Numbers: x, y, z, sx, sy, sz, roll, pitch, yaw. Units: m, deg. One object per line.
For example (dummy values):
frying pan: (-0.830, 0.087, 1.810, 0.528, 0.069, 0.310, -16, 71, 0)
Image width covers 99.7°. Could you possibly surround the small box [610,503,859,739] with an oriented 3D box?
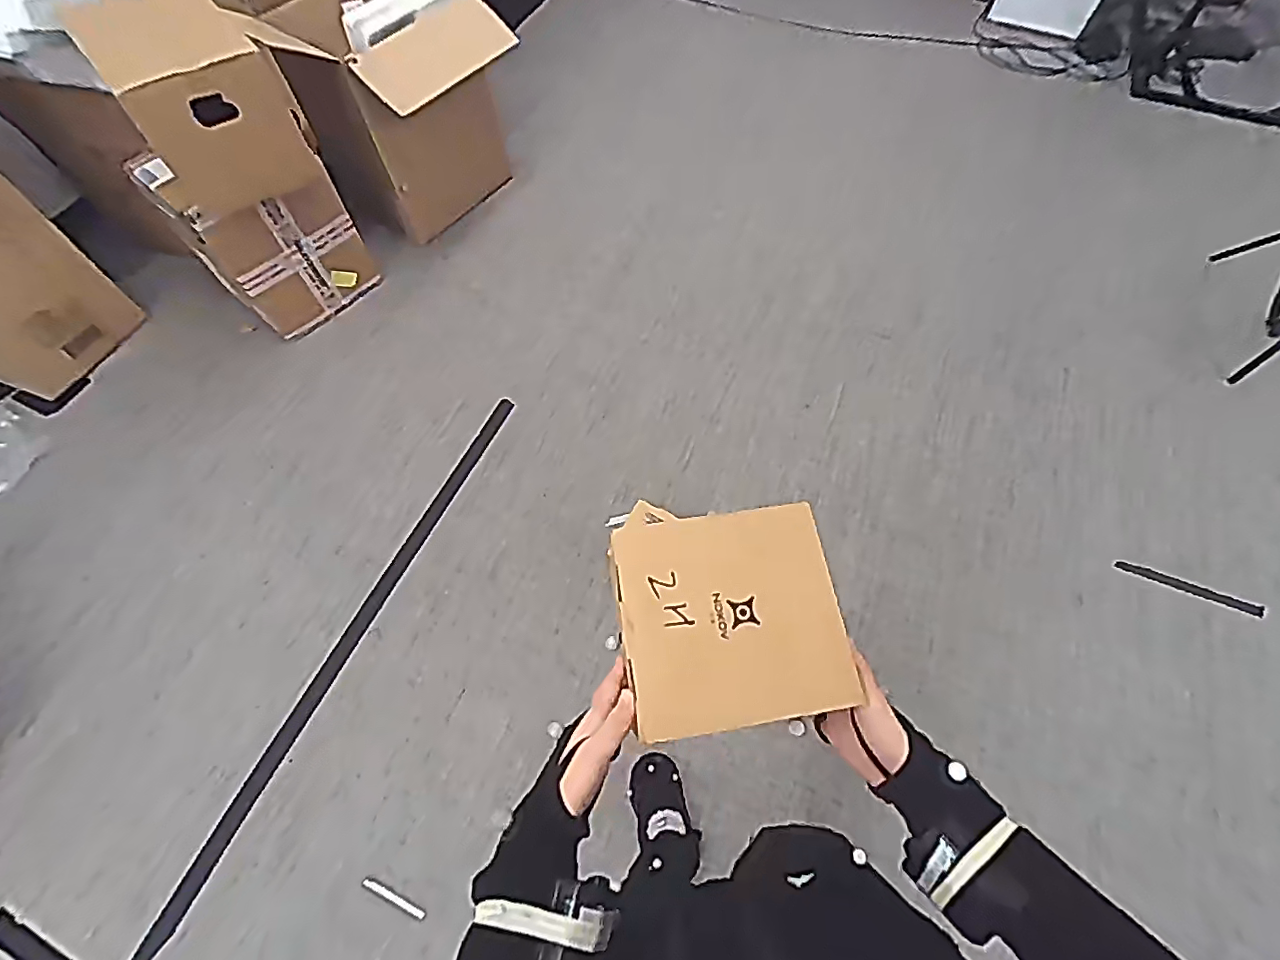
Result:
small box: (0.068, 0.132, 0.504, 0.179, 0.176, 0.168, -8, 69, -5)
